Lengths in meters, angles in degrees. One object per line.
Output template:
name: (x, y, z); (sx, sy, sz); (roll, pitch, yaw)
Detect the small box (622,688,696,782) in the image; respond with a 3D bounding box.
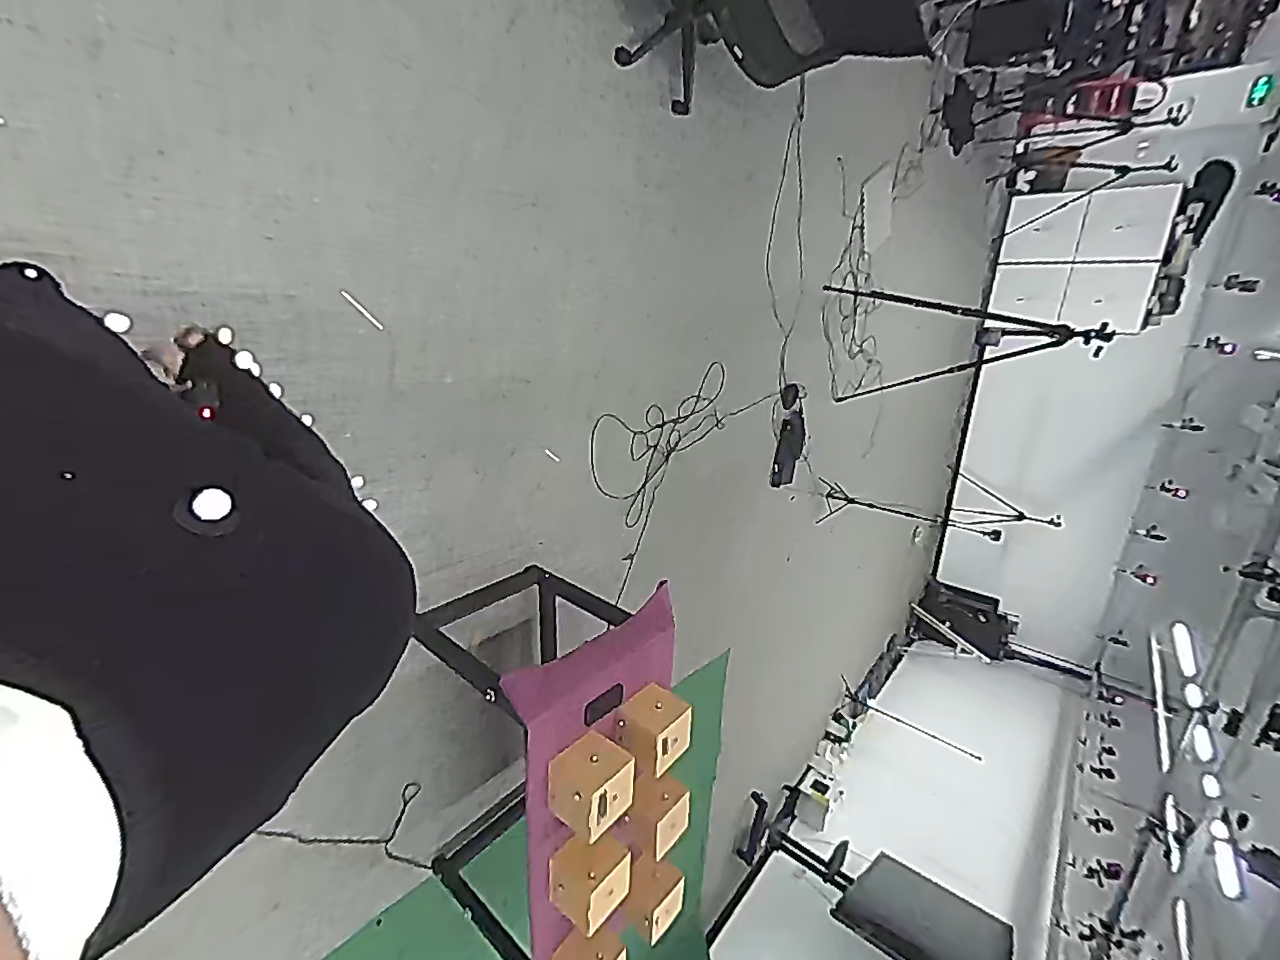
small box: (0.056, 0.792, 1.700); (0.179, 0.176, 0.168); (-19, 117, -47)

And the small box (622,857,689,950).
small box: (0.055, 1.506, 1.943); (0.179, 0.176, 0.168); (-16, 114, -48)

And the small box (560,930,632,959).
small box: (-0.144, 1.568, 1.714); (0.179, 0.176, 0.168); (-19, 115, -46)

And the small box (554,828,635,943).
small box: (-0.135, 1.188, 1.602); (0.179, 0.176, 0.168); (-16, 115, -48)

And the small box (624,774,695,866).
small box: (0.064, 1.134, 1.829); (0.179, 0.176, 0.168); (-18, 115, -46)
